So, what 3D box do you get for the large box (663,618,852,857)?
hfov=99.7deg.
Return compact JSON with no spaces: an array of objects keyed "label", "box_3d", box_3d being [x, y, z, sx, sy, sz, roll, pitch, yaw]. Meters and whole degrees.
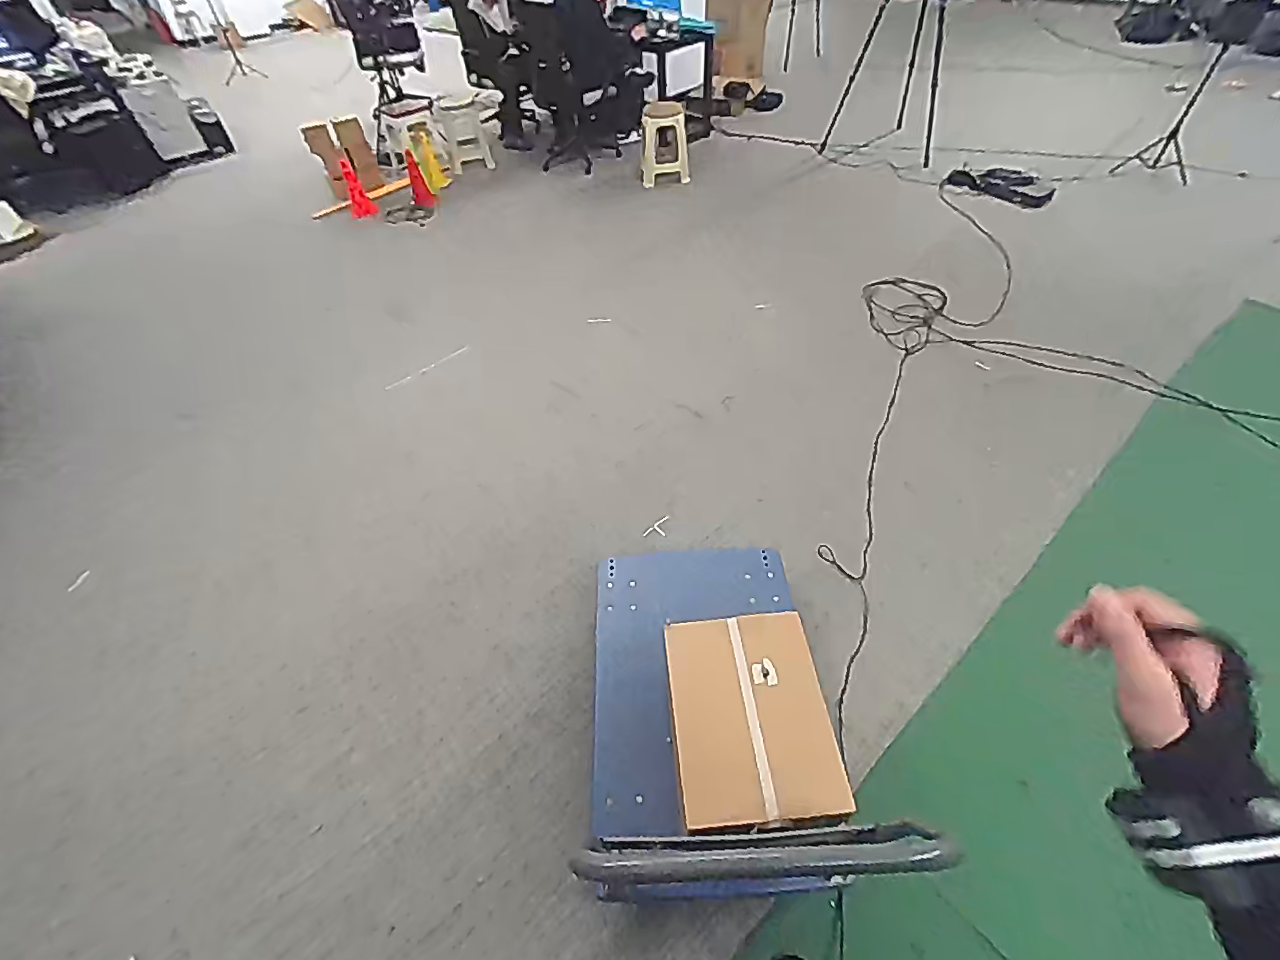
[{"label":"large box","box_3d":[0.234,0.584,1.235,0.320,0.320,0.408,-5,48,-1]}]
